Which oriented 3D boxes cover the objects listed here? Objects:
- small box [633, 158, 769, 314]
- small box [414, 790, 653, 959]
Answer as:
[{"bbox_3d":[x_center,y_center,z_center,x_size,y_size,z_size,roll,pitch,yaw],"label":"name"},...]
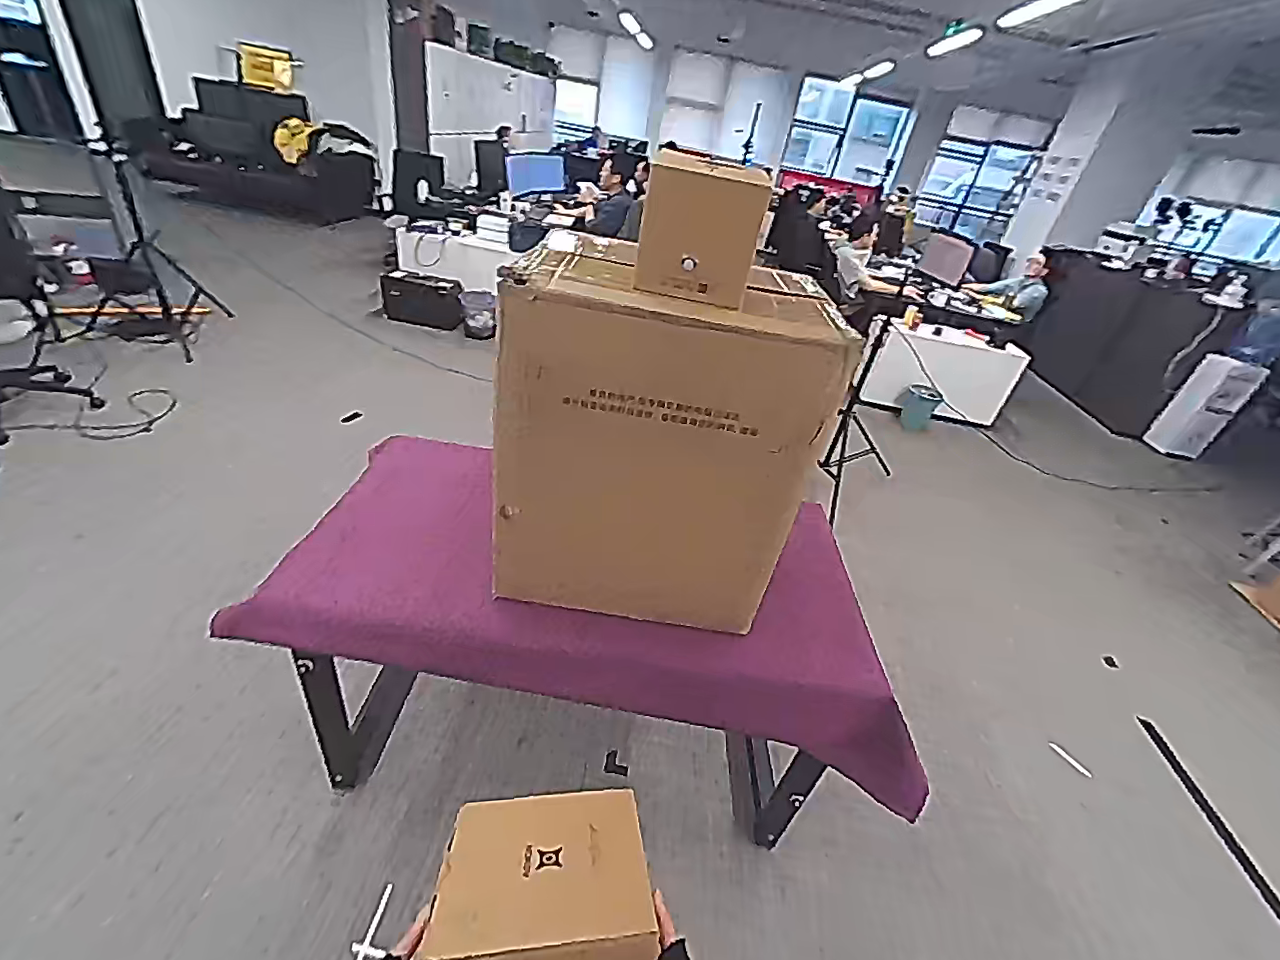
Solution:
[{"bbox_3d":[0.087,-0.372,0.823,0.168,0.176,0.179,11,36,0],"label":"small box"},{"bbox_3d":[-0.084,0.410,0.476,0.179,0.176,0.168,0,6,-7],"label":"small box"}]
